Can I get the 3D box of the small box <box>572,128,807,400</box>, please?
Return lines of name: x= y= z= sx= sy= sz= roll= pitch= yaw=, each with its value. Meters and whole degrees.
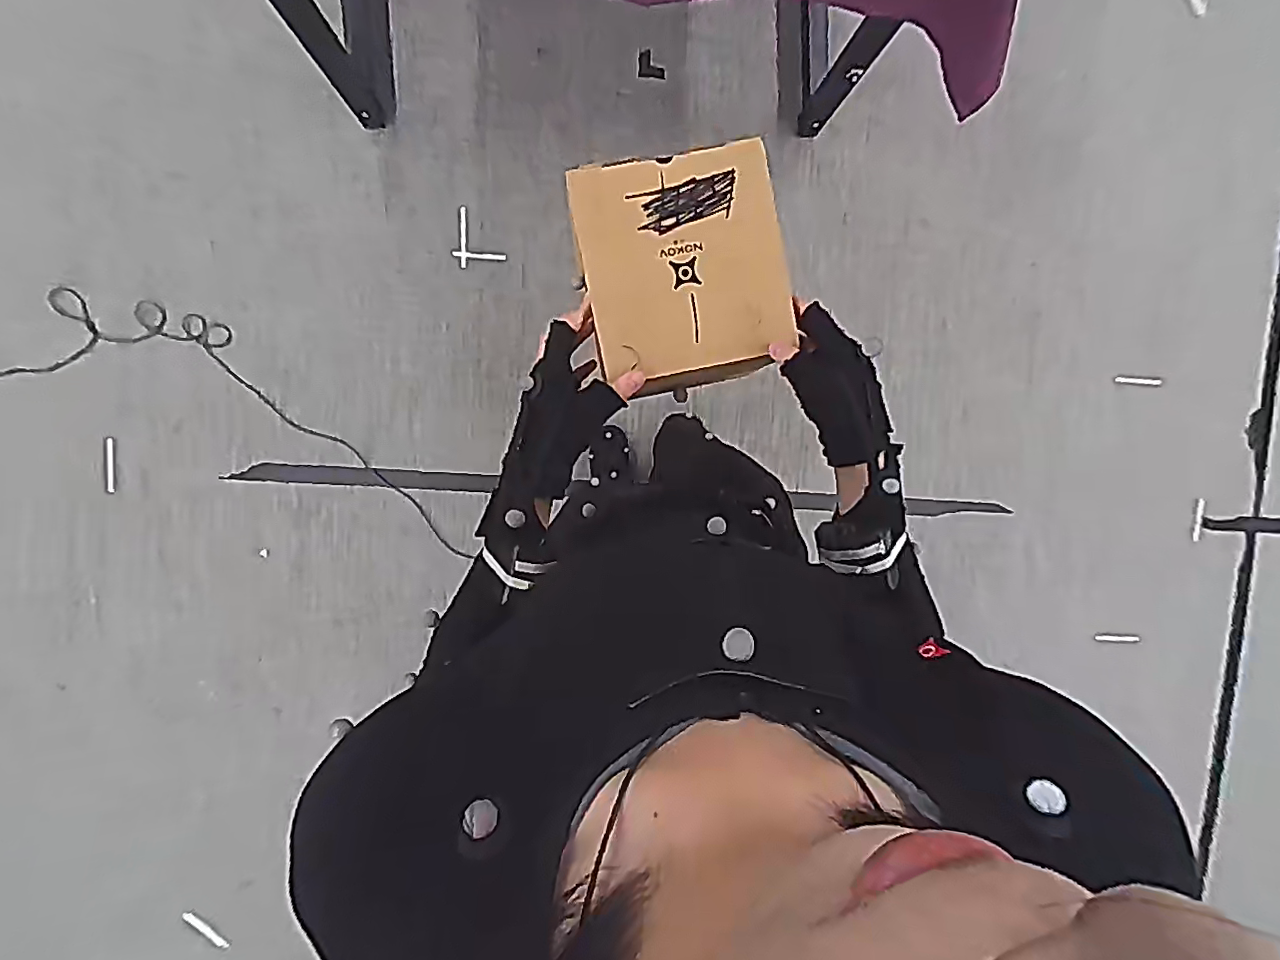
small box: x=0.034 y=-0.184 z=0.509 sx=0.168 sy=0.176 sz=0.179 roll=-12 pitch=93 yaw=-3
